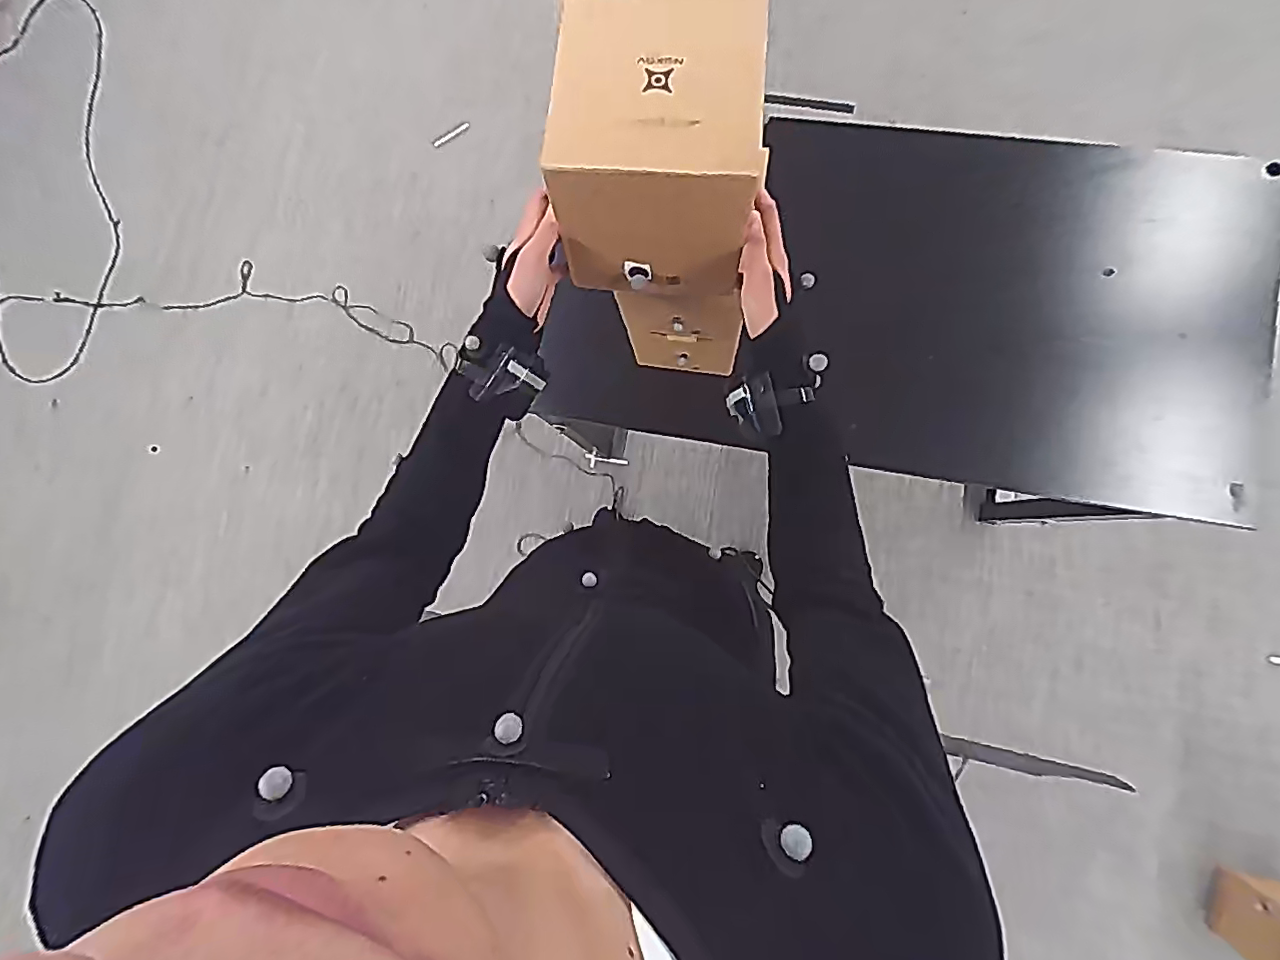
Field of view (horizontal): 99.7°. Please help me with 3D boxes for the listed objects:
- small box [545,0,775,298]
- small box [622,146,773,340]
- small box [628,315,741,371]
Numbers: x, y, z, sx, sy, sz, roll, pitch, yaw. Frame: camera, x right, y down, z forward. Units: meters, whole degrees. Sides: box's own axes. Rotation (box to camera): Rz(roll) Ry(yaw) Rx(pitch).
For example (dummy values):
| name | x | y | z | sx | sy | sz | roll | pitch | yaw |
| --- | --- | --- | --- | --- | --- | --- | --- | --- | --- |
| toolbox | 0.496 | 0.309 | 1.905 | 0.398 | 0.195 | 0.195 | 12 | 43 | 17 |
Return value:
| name | x | y | z | sx | sy | sz | roll | pitch | yaw |
| --- | --- | --- | --- | --- | --- | --- | --- | --- | --- |
| small box | 0.021 | -0.289 | 0.485 | 0.168 | 0.176 | 0.179 | 3 | 78 | 4 |
| small box | 0.067 | -0.301 | 0.697 | 0.168 | 0.176 | 0.179 | 9 | 86 | 7 |
| small box | 0.084 | -0.283 | 0.861 | 0.168 | 0.176 | 0.179 | 8 | 86 | 7 |
